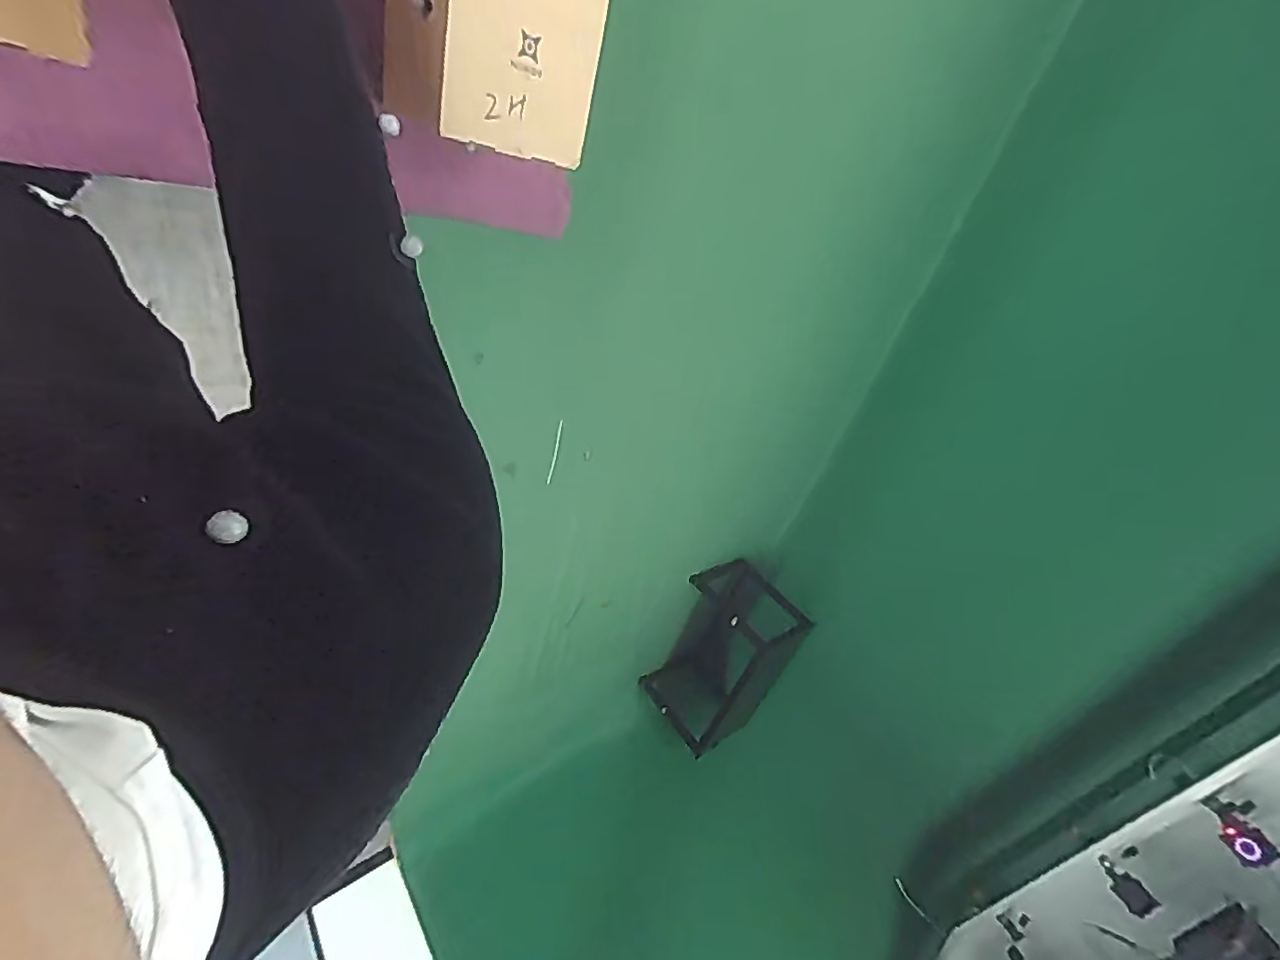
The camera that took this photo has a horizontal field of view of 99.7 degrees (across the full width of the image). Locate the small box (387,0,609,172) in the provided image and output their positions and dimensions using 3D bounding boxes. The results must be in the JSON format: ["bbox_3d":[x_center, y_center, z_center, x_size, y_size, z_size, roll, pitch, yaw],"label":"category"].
[{"bbox_3d":[-0.160,-0.461,0.581,0.168,0.176,0.179,-11,131,-39],"label":"small box"}]
